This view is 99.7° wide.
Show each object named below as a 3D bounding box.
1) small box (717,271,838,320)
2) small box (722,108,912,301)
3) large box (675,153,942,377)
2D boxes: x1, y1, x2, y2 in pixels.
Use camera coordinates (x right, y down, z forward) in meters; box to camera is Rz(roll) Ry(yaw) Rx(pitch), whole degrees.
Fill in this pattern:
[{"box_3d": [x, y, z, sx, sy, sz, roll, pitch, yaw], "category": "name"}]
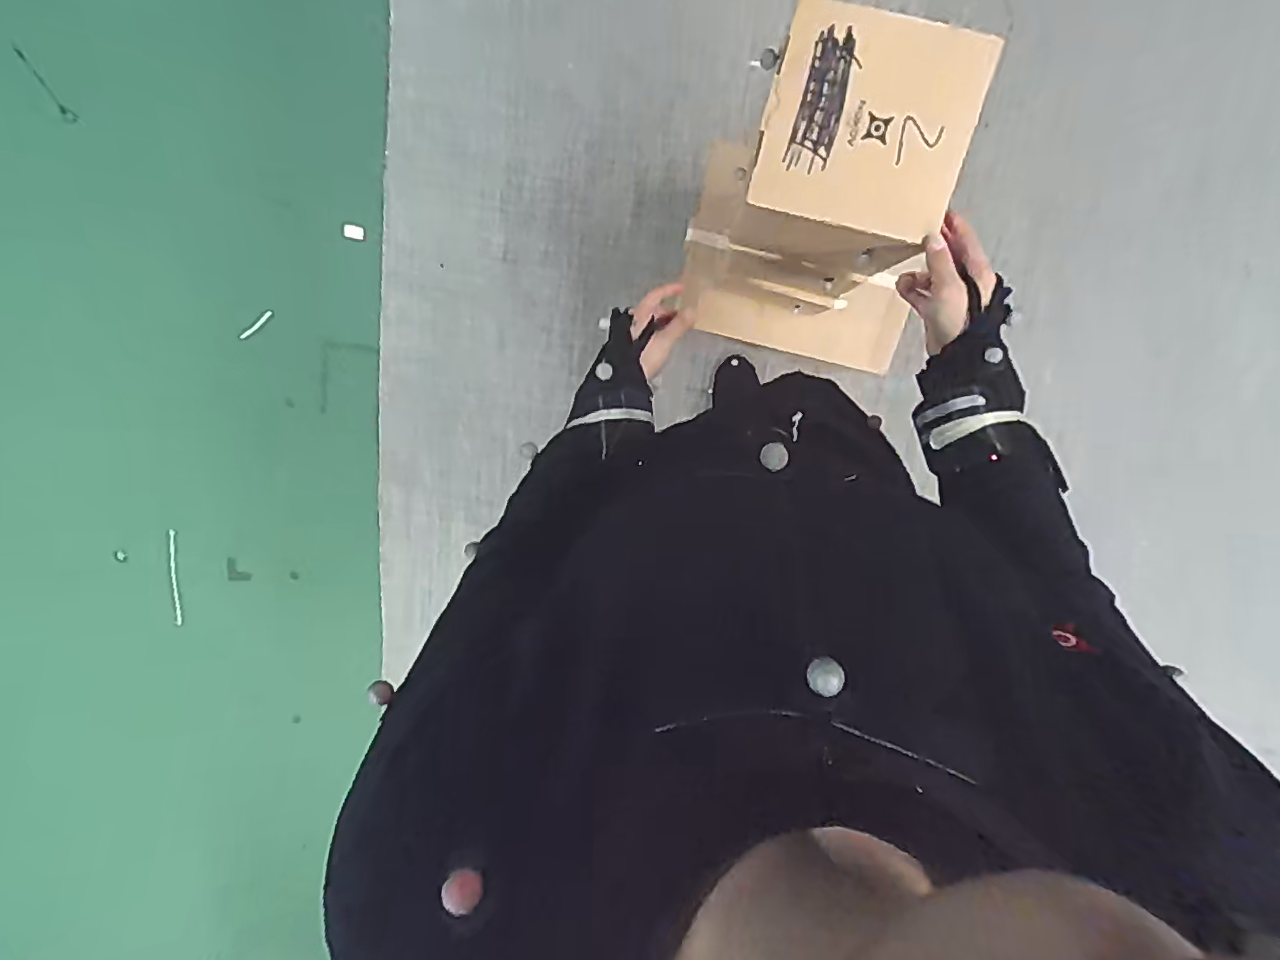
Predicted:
[{"box_3d": [0.230, -0.359, 0.866, 0.179, 0.176, 0.168, 15, 102, 4], "category": "small box"}, {"box_3d": [0.211, -0.341, 0.705, 0.179, 0.176, 0.168, 14, 102, 2], "category": "small box"}, {"box_3d": [0.297, -0.407, 1.097, 0.408, 0.320, 0.320, 14, 104, 2], "category": "large box"}]
